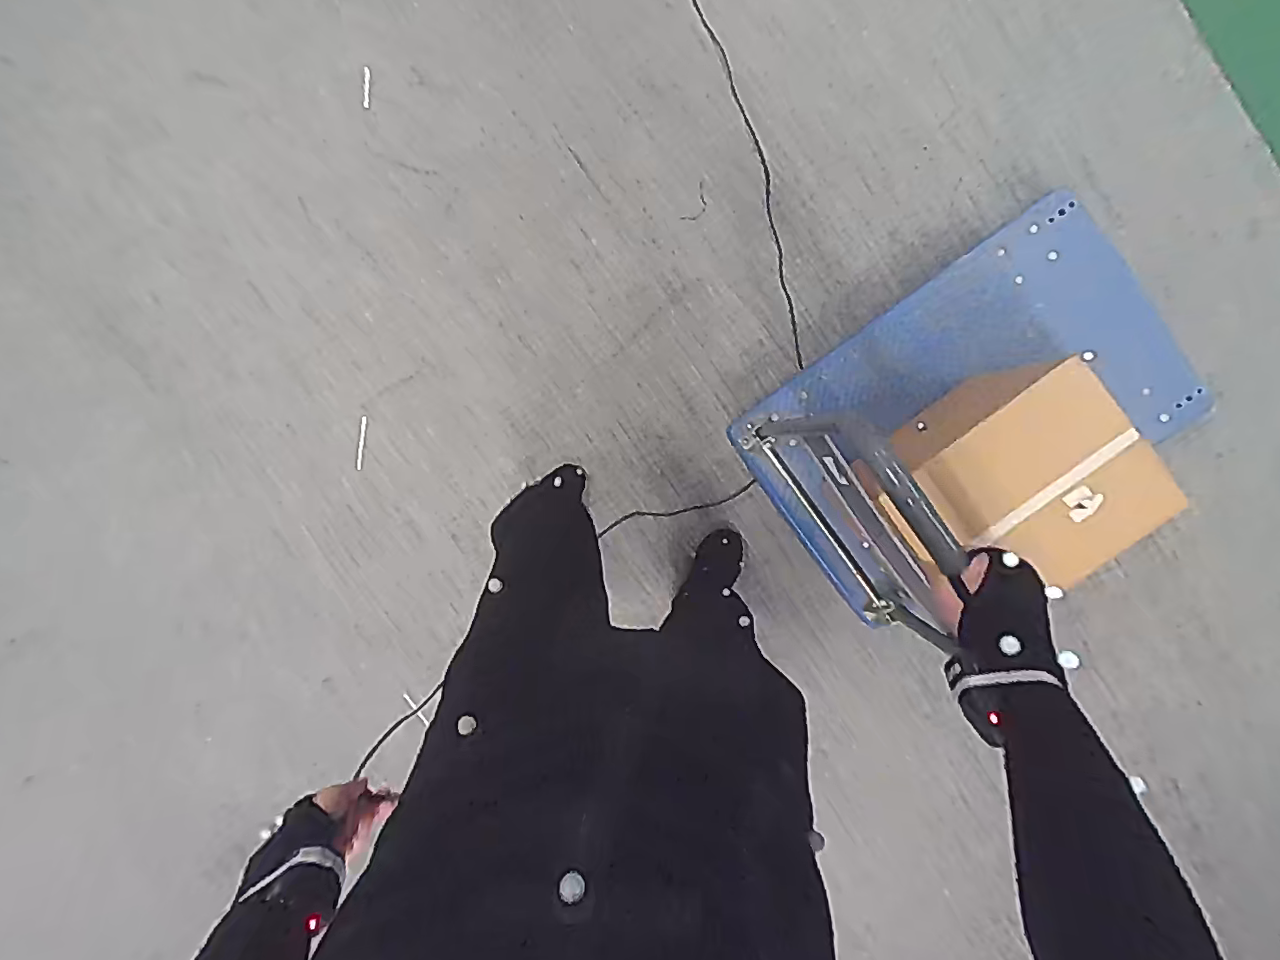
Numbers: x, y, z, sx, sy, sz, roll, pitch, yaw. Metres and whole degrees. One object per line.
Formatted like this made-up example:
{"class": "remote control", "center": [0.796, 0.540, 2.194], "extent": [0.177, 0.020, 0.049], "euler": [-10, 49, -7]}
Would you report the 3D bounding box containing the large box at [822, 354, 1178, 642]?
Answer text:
{"class": "large box", "center": [0.636, 0.027, 1.039], "extent": [0.408, 0.320, 0.320], "euler": [-38, 92, 5]}
